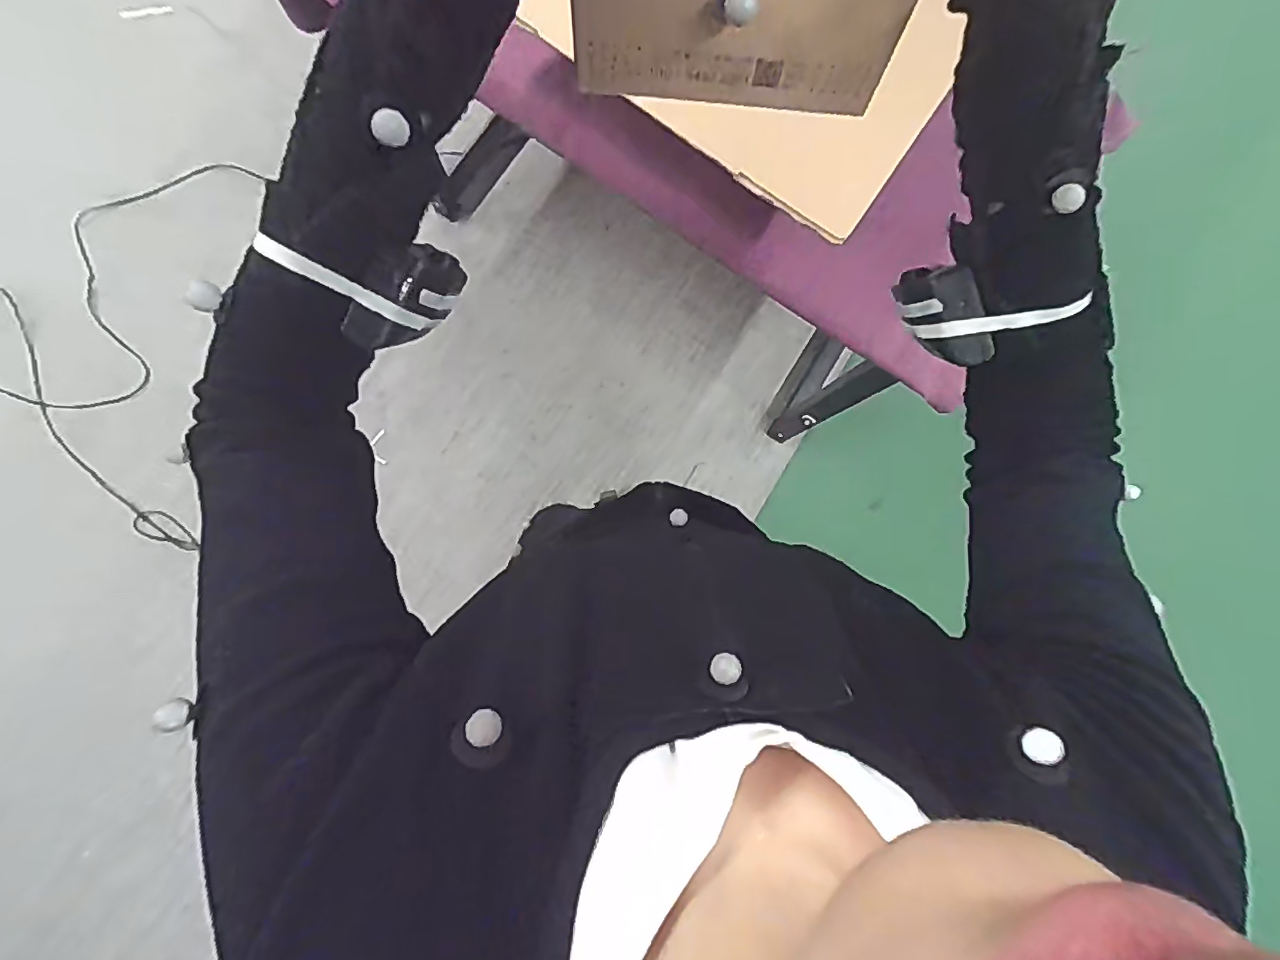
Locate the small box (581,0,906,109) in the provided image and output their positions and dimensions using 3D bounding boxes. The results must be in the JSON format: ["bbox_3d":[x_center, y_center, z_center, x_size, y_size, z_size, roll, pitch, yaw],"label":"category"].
[{"bbox_3d":[0.056,-0.324,0.256,0.168,0.176,0.179,5,72,-1],"label":"small box"}]
